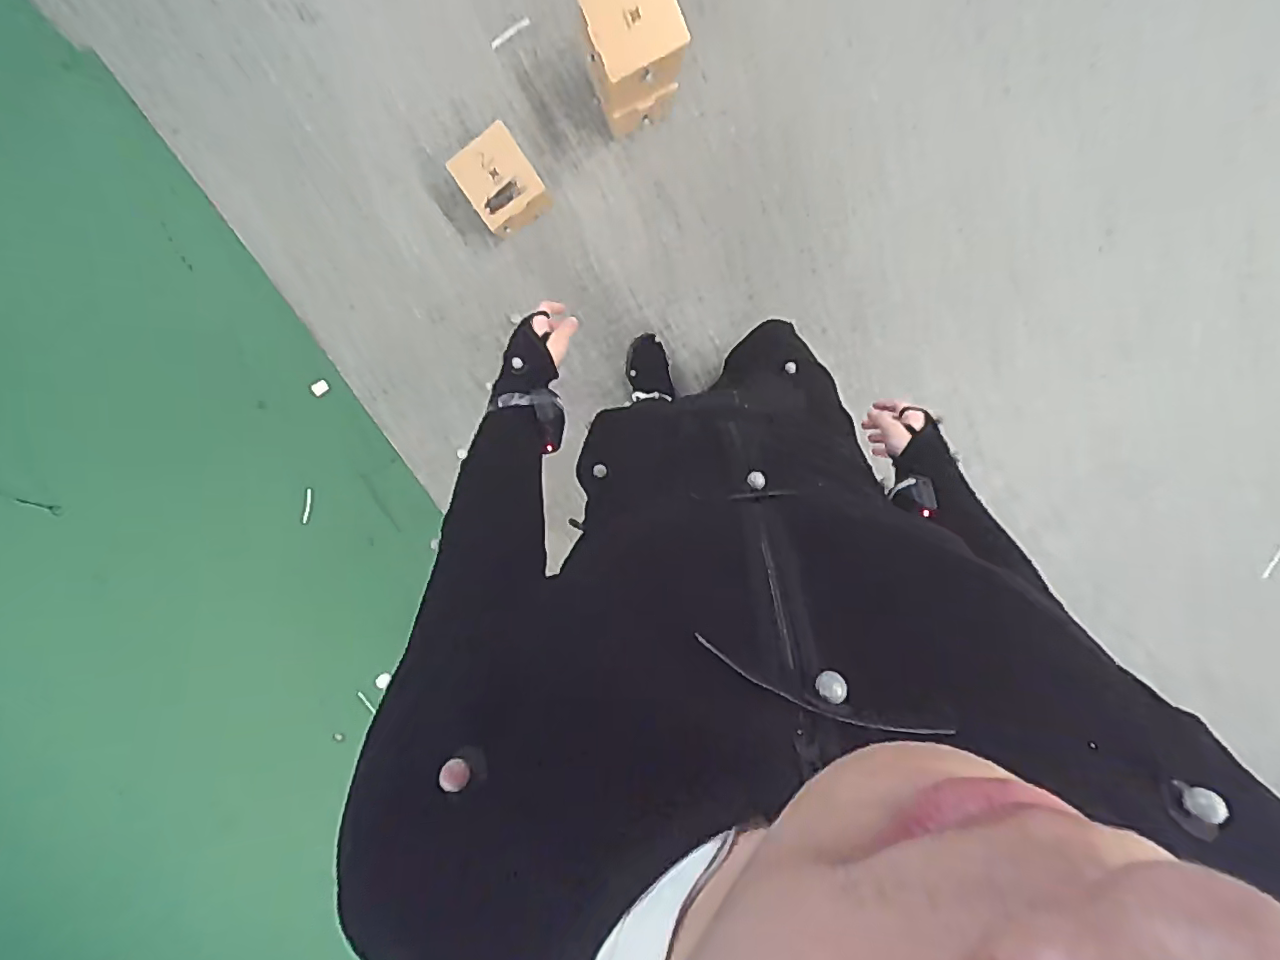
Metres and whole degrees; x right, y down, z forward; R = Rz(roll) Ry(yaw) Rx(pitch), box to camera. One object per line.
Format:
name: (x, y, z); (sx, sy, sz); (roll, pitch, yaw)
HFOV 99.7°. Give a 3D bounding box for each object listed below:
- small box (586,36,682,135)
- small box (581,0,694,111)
small box: (-0.013, -0.943, 1.268); (0.168, 0.176, 0.179); (-23, 107, 5)
small box: (-0.006, -0.906, 1.109); (0.179, 0.176, 0.168); (-24, 106, 7)
